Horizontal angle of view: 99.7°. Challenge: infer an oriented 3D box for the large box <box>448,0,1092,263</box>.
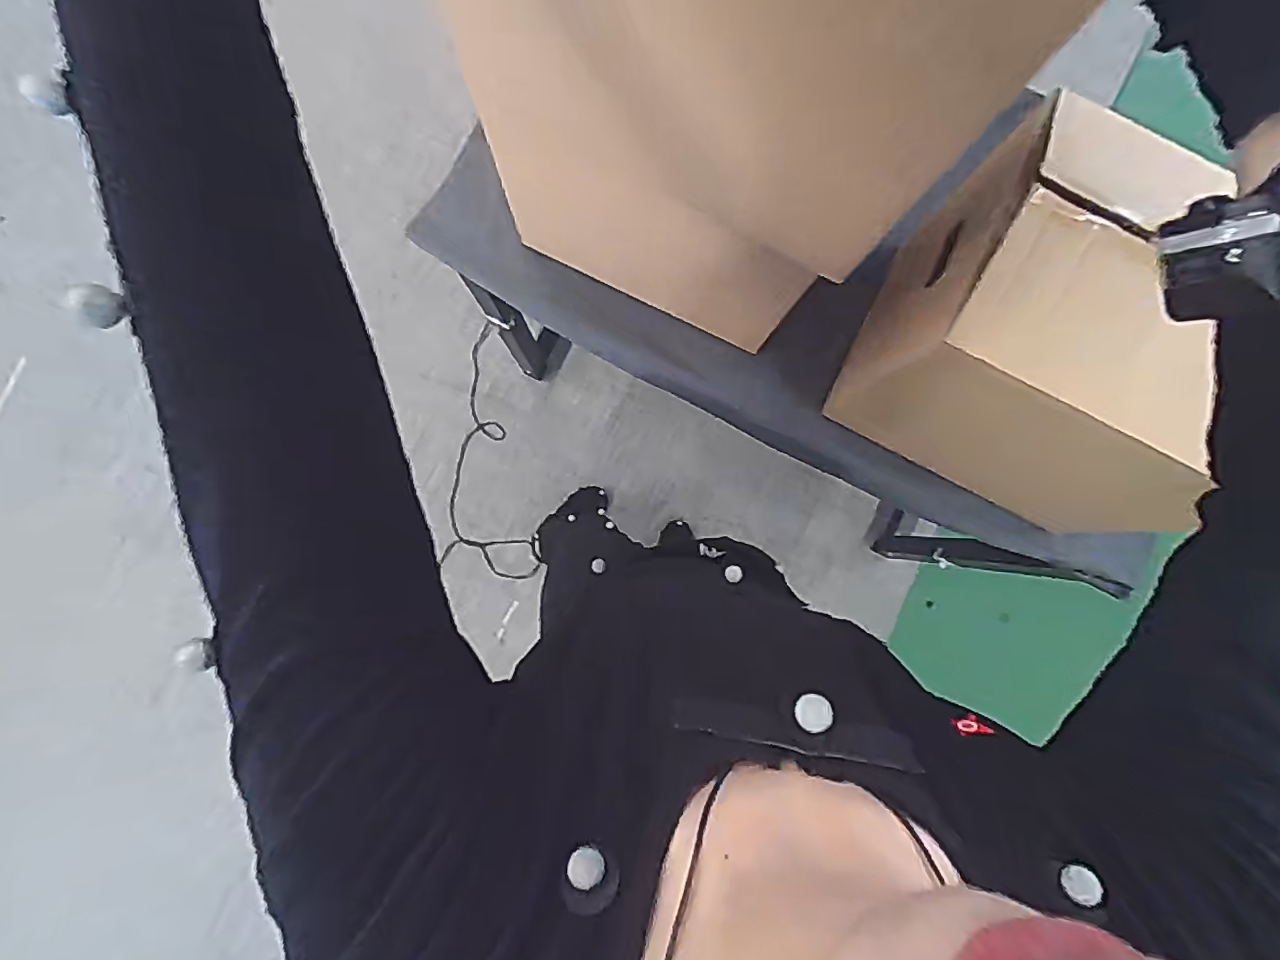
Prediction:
[{"bbox_3d":[0.090,-0.436,0.385,0.408,0.320,0.320,27,86,-2],"label":"large box"}]
